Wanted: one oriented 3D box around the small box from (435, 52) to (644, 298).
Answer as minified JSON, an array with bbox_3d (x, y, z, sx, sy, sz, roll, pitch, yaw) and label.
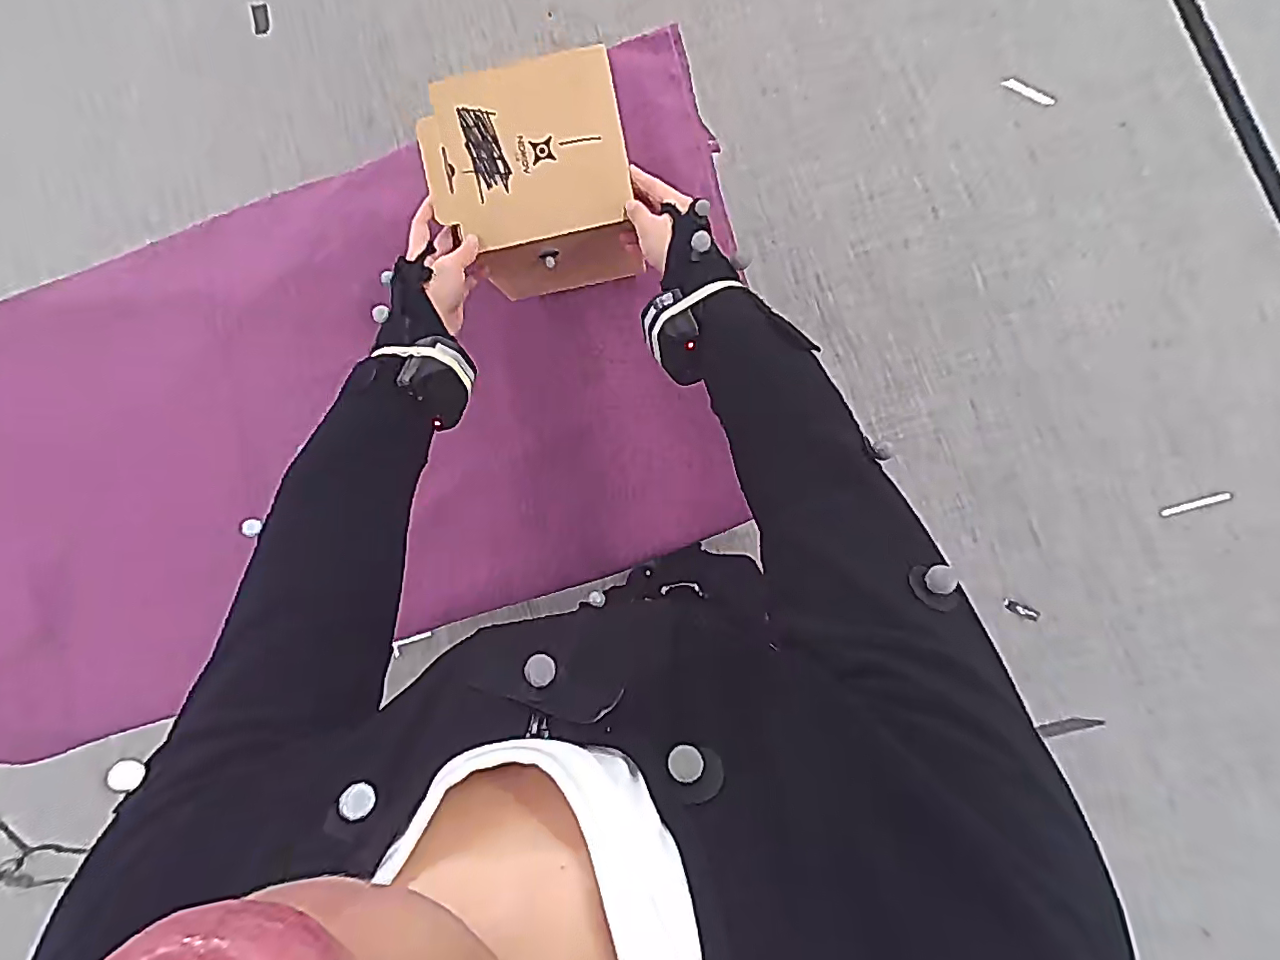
[{"bbox_3d":[-0.097,-0.317,0.601,0.179,0.176,0.168,-11,93,2],"label":"small box"}]
